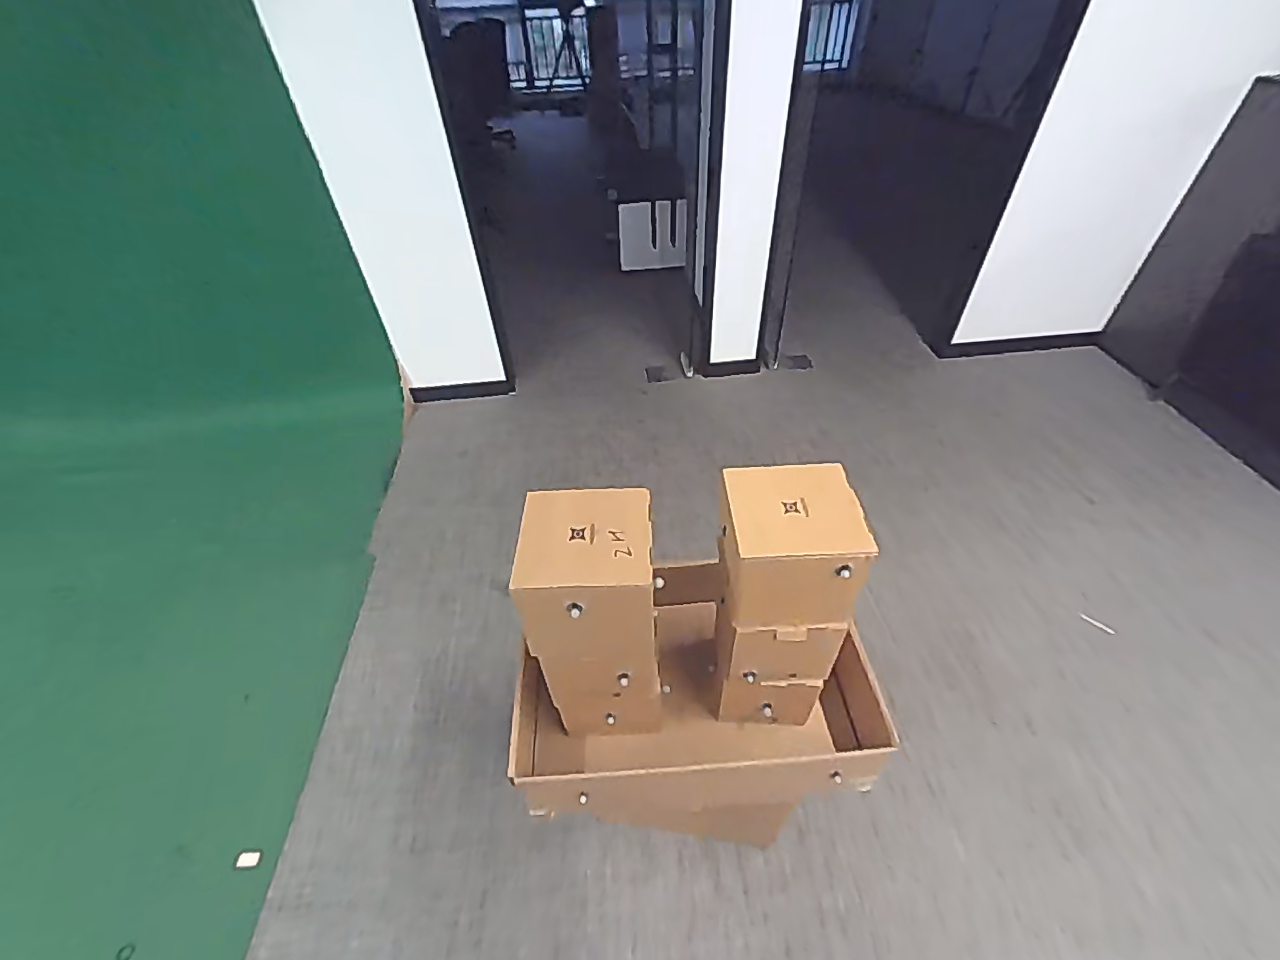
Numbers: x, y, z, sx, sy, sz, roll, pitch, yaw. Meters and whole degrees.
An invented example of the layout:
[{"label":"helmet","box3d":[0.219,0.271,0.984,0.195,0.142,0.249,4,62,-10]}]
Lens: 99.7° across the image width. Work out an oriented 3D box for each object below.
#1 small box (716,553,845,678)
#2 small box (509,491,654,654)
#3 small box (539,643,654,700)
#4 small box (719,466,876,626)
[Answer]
[{"label":"small box","box3d":[0.221,0.215,0.898,0.168,0.176,0.179,-2,44,1]},{"label":"small box","box3d":[-0.069,0.132,0.761,0.179,0.176,0.168,-1,45,0]},{"label":"small box","box3d":[-0.064,0.244,0.882,0.168,0.176,0.179,-3,44,-2]},{"label":"small box","box3d":[0.211,0.098,0.785,0.179,0.176,0.168,-2,44,-1]}]
